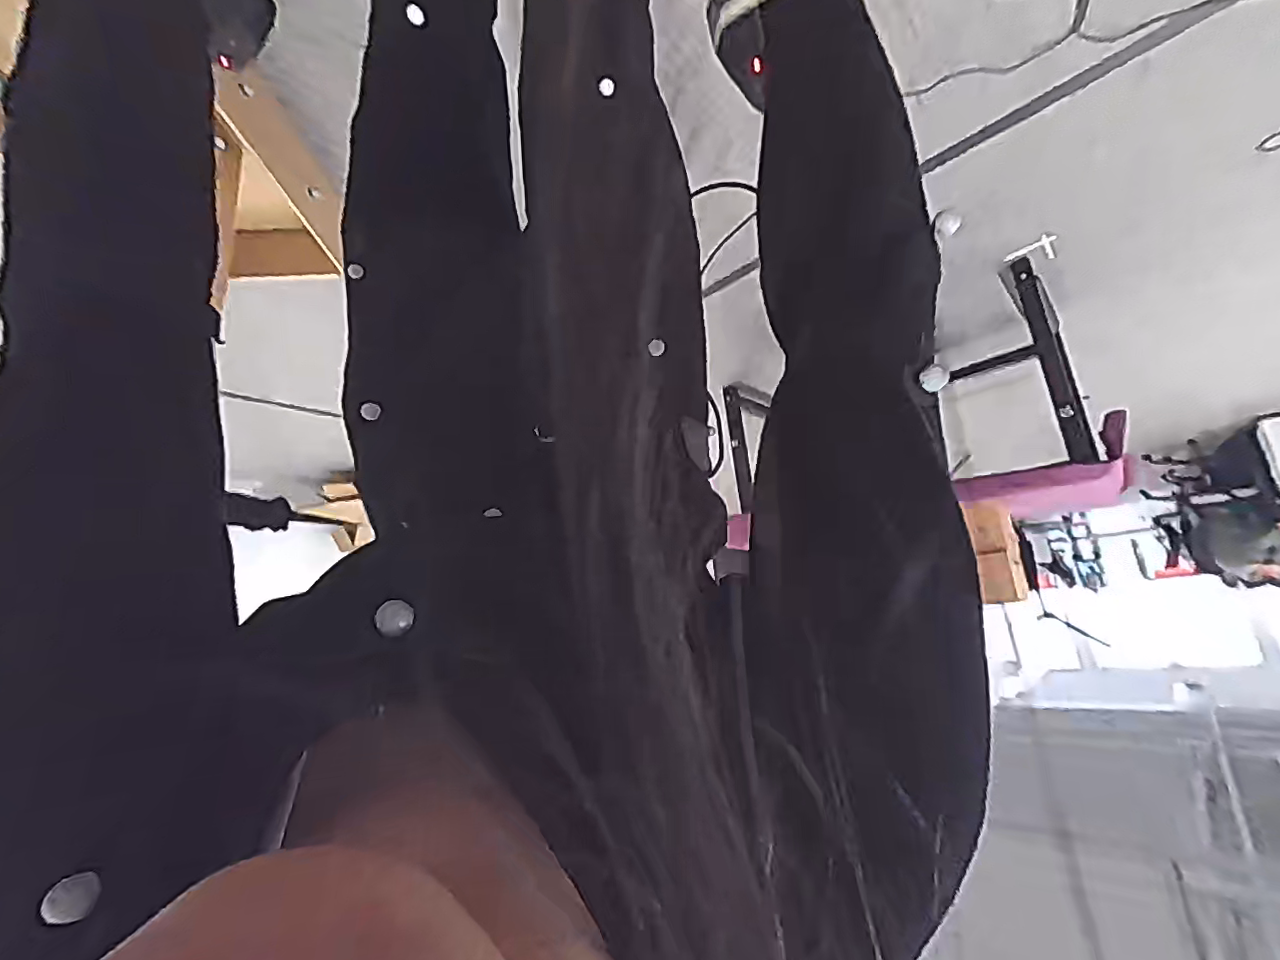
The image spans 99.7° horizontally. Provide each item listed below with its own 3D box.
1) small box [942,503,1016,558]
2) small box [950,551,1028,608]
[{"bbox_3d":[1.176,0.179,1.881,0.168,0.176,0.179,-19,160,41],"label":"small box"},{"bbox_3d":[1.173,0.334,1.822,0.179,0.176,0.168,10,159,-44],"label":"small box"}]
